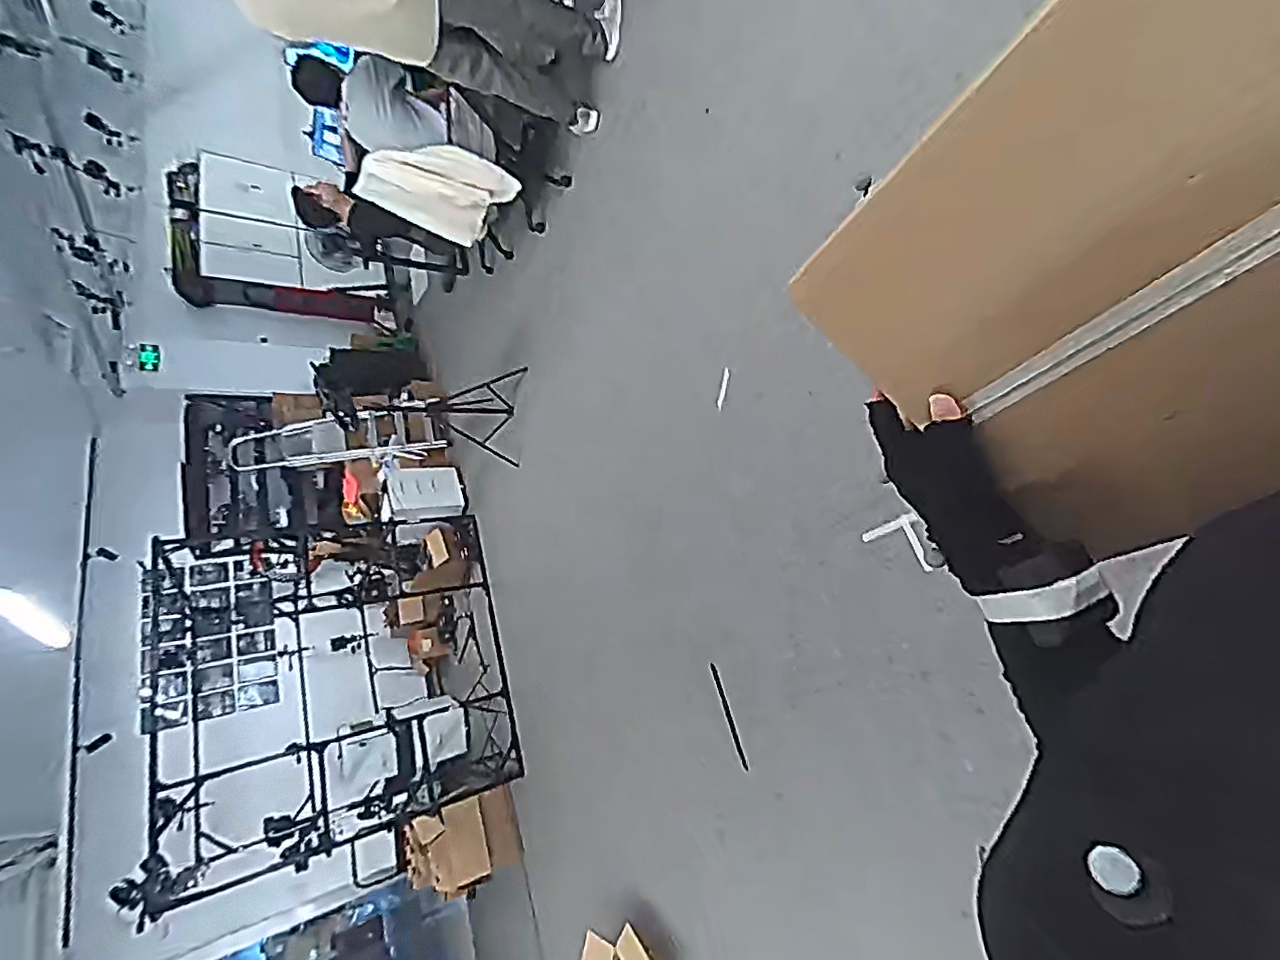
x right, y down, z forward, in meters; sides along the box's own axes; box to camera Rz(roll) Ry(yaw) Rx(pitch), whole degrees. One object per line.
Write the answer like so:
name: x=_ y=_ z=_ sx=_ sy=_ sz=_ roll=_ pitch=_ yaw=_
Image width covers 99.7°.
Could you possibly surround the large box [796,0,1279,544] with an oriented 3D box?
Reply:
large box: x=0.391 y=-0.224 z=0.372 sx=0.320 sy=0.320 sz=0.408 roll=43 pitch=139 yaw=-4
